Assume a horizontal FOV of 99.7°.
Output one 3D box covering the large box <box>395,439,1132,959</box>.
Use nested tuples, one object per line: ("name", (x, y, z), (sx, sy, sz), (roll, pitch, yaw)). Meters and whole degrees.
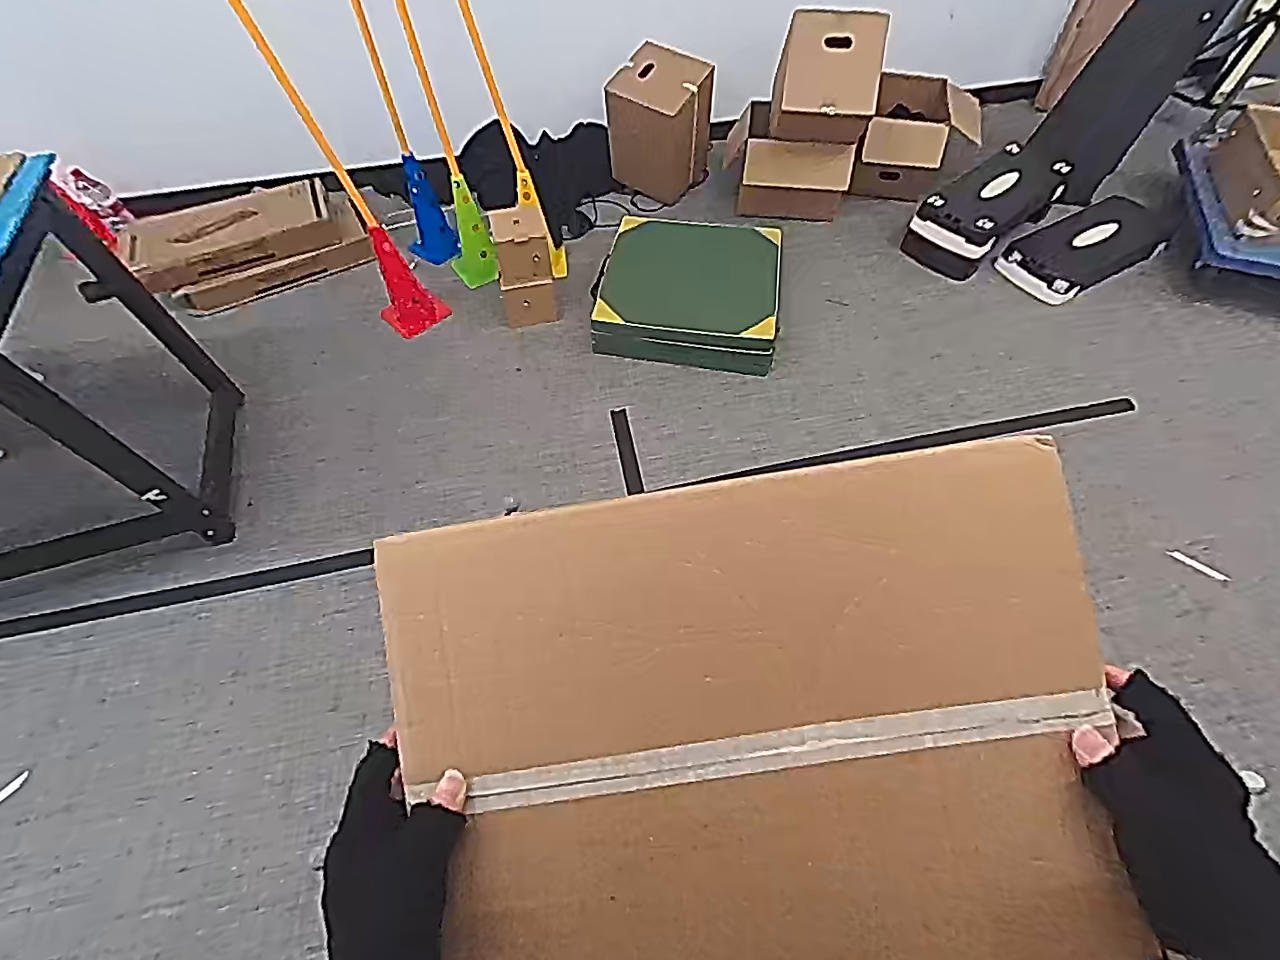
("large box", (0.069, 0.167, 0.474), (0.408, 0.320, 0.320), (-9, 88, 3))
